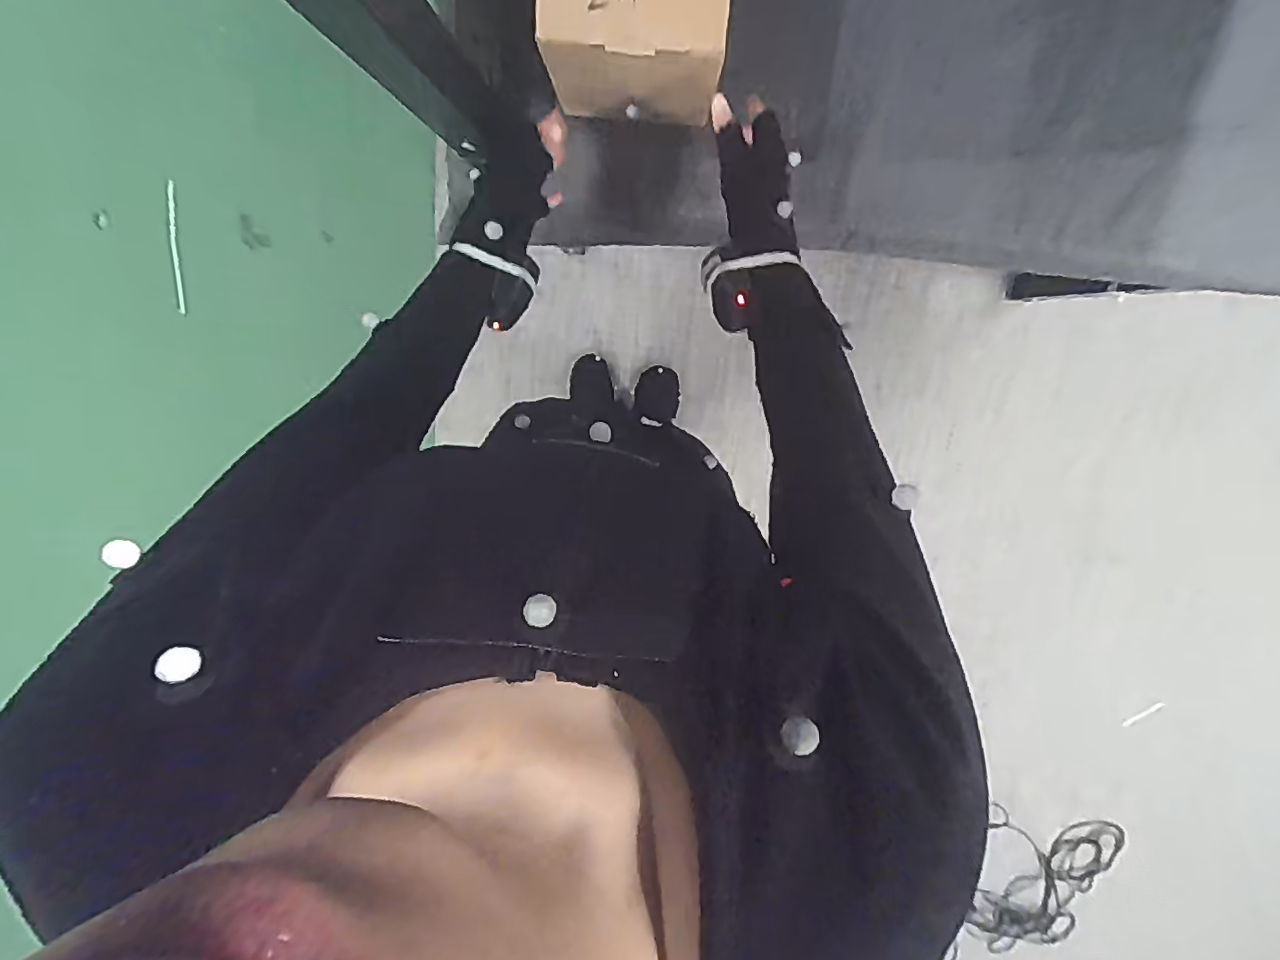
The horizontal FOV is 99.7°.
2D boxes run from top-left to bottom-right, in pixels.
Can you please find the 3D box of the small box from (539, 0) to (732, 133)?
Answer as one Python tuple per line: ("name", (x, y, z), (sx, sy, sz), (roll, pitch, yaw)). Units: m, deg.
("small box", (0.001, -0.471, 0.525), (0.168, 0.176, 0.179), (4, 105, 0))
